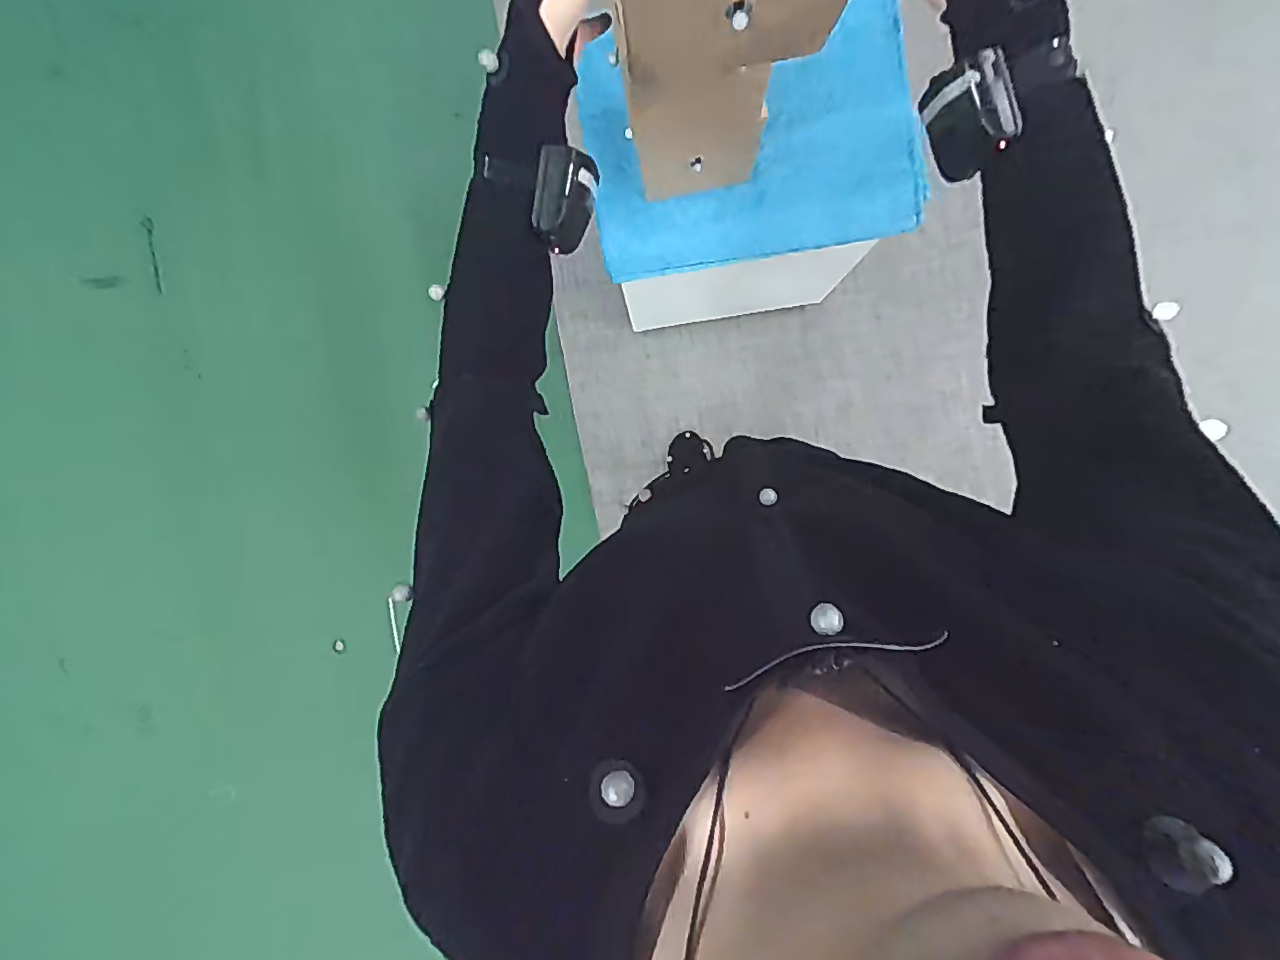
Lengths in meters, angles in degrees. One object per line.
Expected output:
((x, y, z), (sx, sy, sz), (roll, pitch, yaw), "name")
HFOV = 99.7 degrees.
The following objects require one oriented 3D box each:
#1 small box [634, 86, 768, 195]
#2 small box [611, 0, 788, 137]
((0.076, -0.555, 0.802), (0.179, 0.176, 0.168), (-10, 91, 4), "small box")
((0.059, -0.547, 0.638), (0.179, 0.176, 0.168), (-10, 91, 3), "small box")
